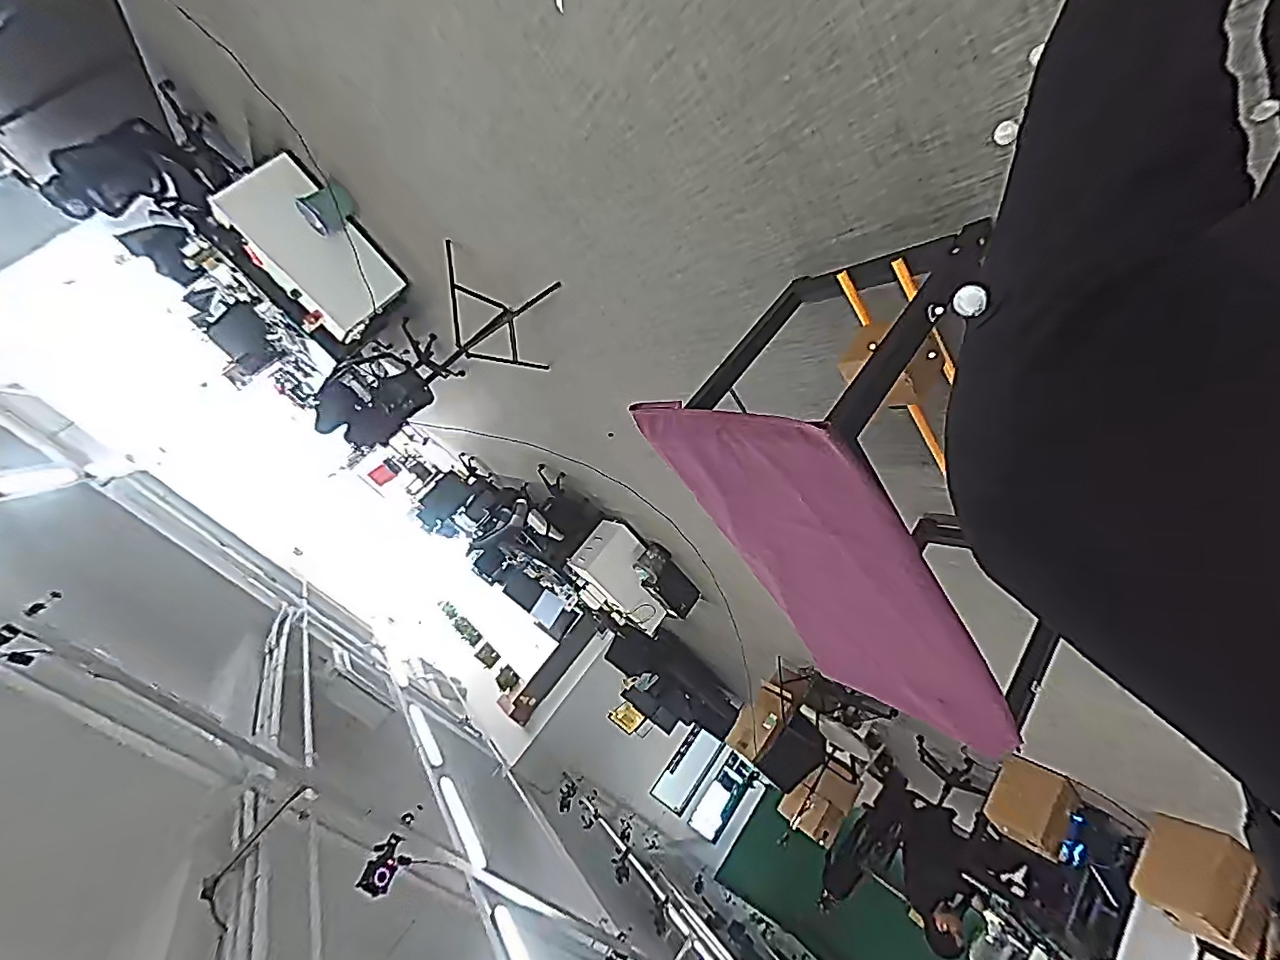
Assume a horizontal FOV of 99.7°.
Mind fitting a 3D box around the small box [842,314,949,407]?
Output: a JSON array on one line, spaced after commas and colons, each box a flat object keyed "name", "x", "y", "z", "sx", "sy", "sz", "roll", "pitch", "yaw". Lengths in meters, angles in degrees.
[{"name": "small box", "x": 0.680, "y": -0.313, "z": 1.436, "sx": 0.168, "sy": 0.176, "sz": 0.179, "roll": 48, "pitch": 158, "yaw": -25}]
